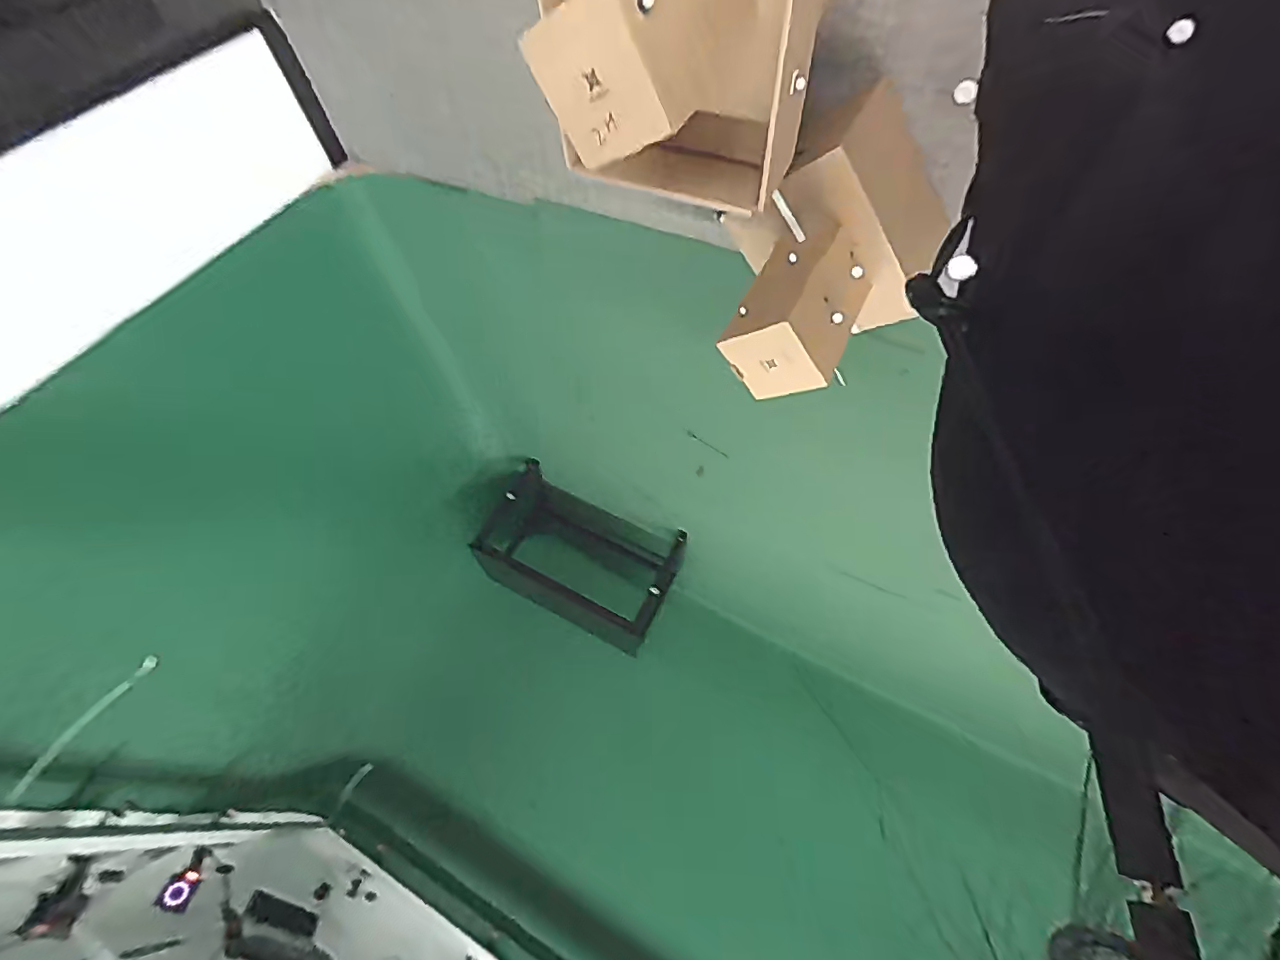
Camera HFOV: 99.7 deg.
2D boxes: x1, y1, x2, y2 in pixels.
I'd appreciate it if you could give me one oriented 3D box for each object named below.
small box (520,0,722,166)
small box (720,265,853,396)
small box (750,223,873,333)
[{"bbox_3d":[-0.017,-0.571,0.724,0.168,0.176,0.179,6,145,42],"label":"small box"},{"bbox_3d":[0.301,-0.299,1.099,0.179,0.176,0.168,-5,137,50],"label":"small box"},{"bbox_3d":[0.376,-0.420,1.178,0.179,0.176,0.168,-3,138,48],"label":"small box"}]
